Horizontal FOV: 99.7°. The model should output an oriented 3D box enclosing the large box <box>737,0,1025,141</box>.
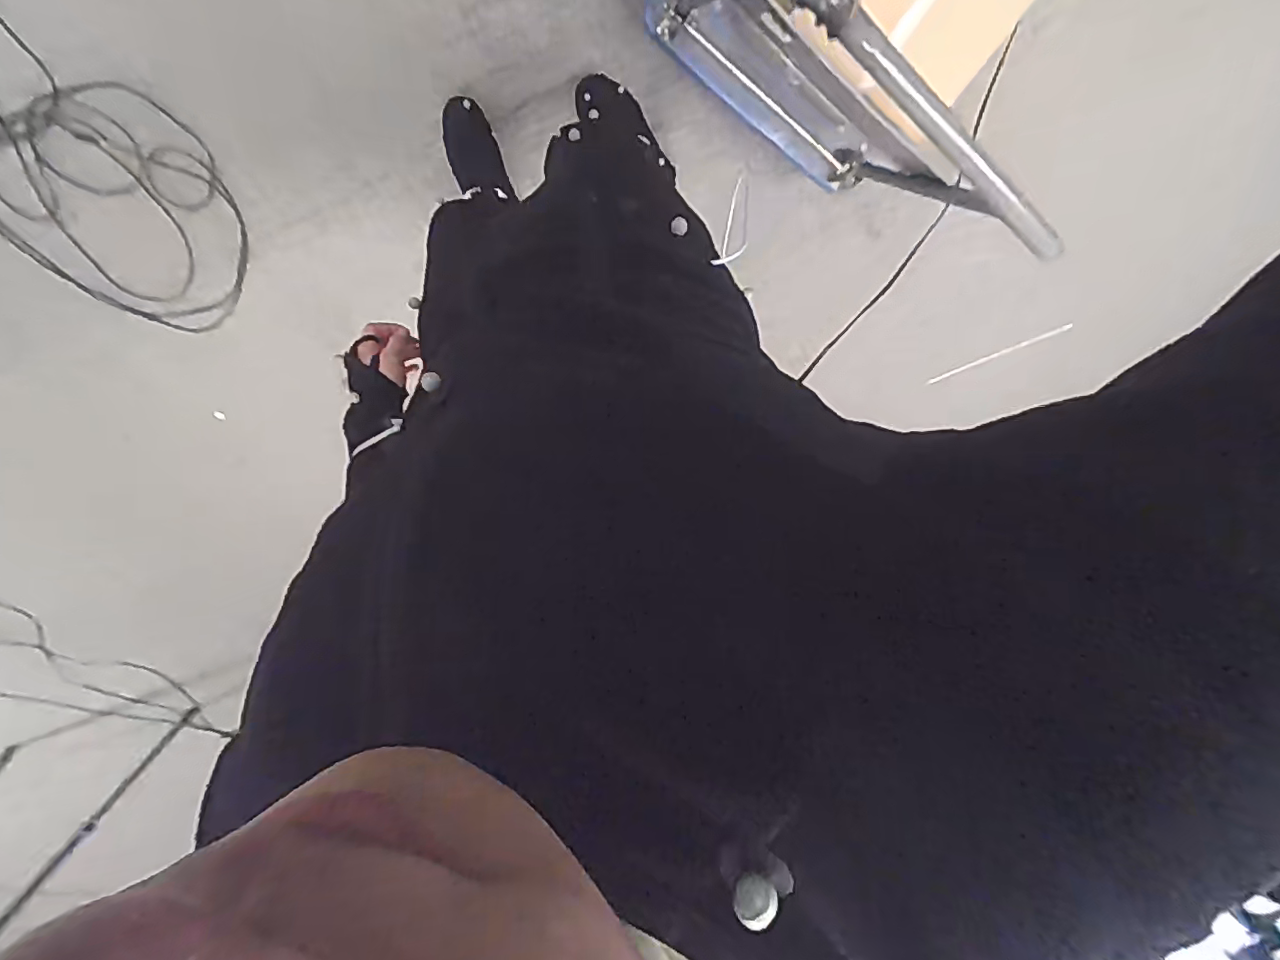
[{"bbox_3d":[0.425,-0.855,0.876,0.320,0.320,0.408,23,121,-26],"label":"large box"}]
